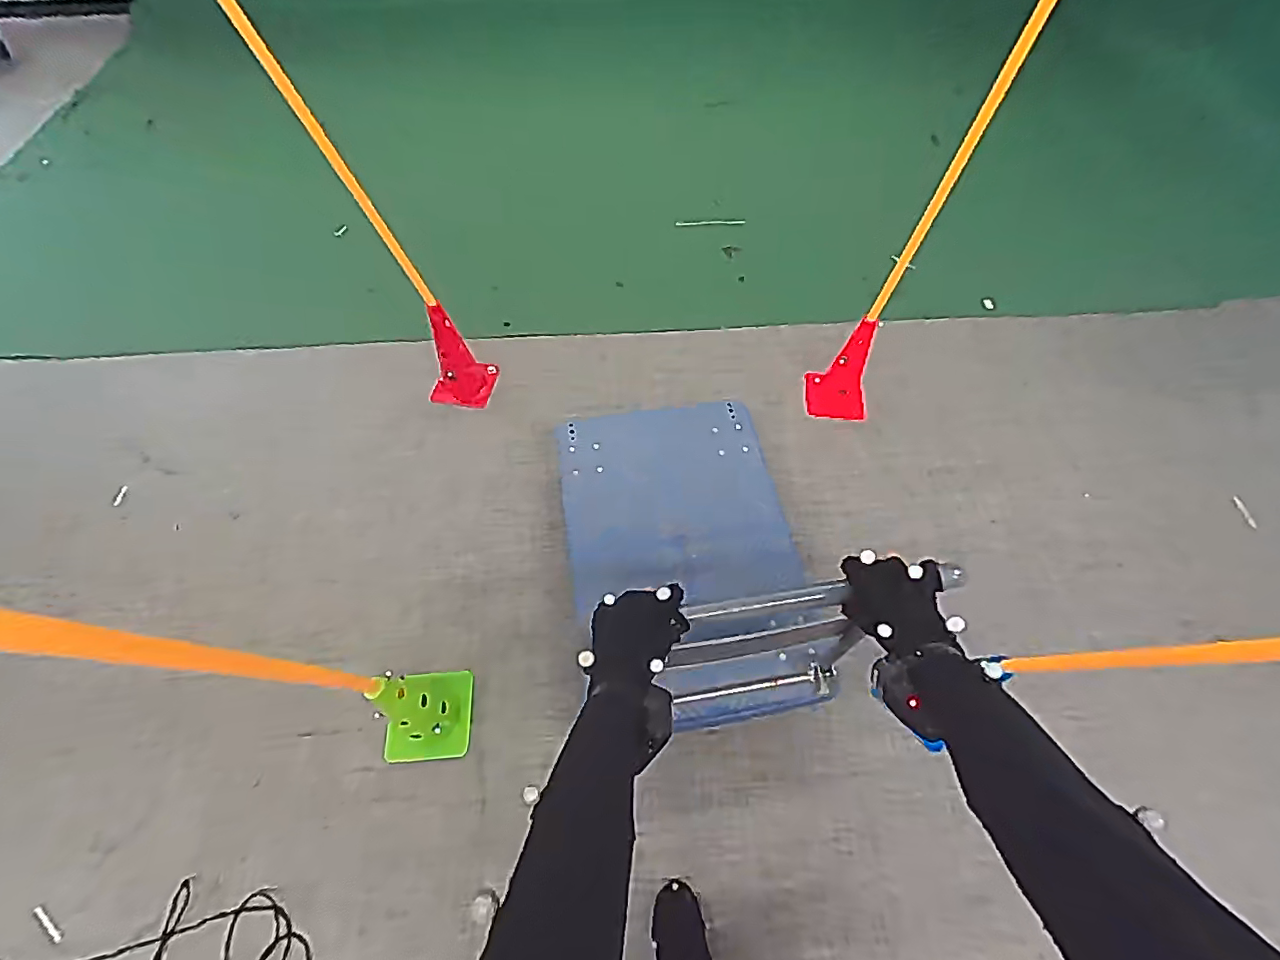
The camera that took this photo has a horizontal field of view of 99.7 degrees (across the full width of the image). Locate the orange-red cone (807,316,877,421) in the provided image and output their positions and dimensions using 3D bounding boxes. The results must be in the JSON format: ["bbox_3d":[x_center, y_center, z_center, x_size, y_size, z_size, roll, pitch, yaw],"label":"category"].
[{"bbox_3d":[0.677,-0.374,1.725,0.198,0.360,0.199,6,60,5],"label":"orange-red cone"}]
